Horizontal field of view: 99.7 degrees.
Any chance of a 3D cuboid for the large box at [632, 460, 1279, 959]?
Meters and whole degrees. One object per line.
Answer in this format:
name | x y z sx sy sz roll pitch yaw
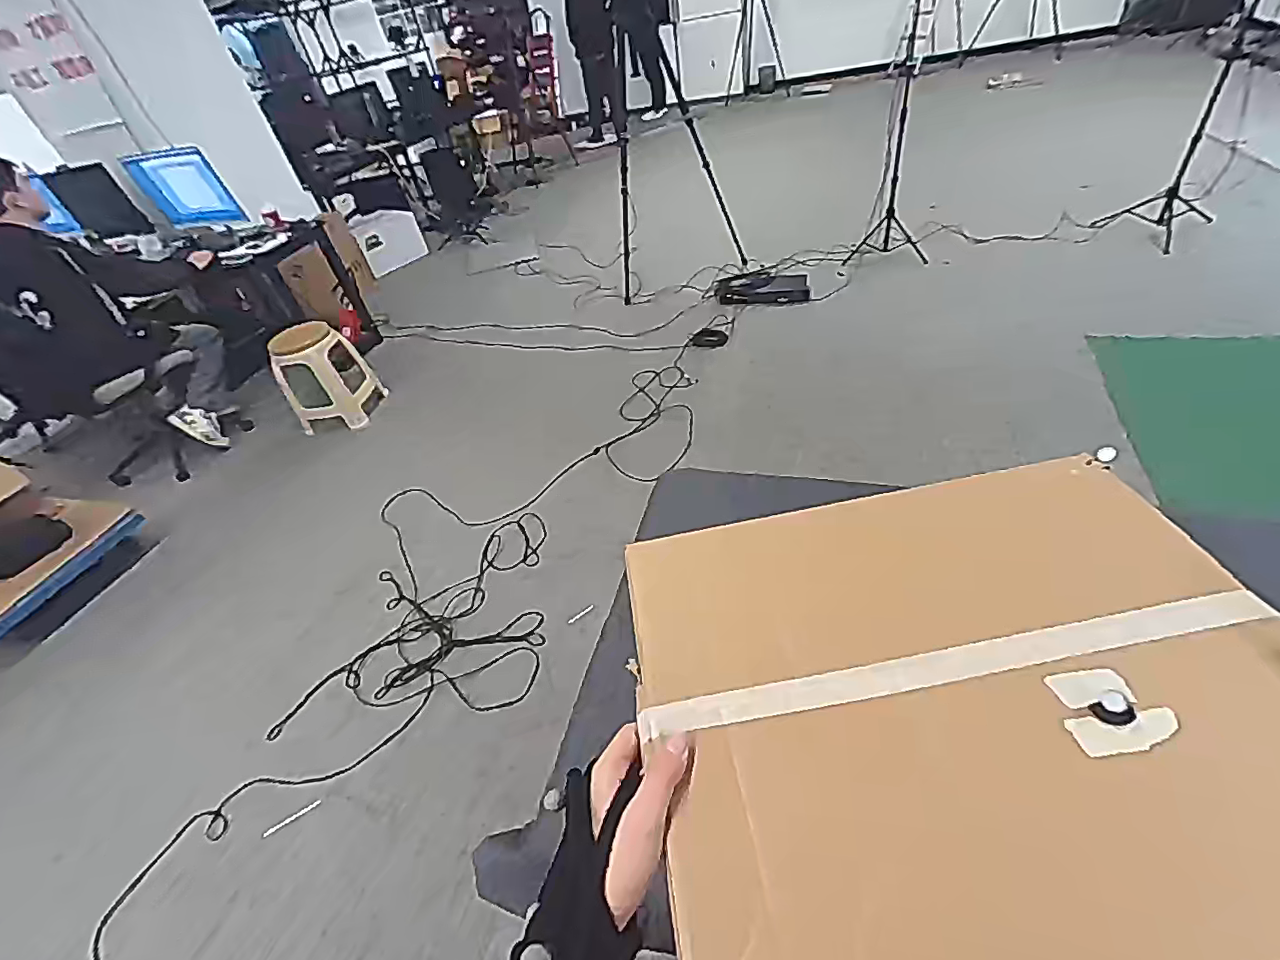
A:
large box | 0.225 0.228 0.465 0.408 0.320 0.320 -11 44 0
